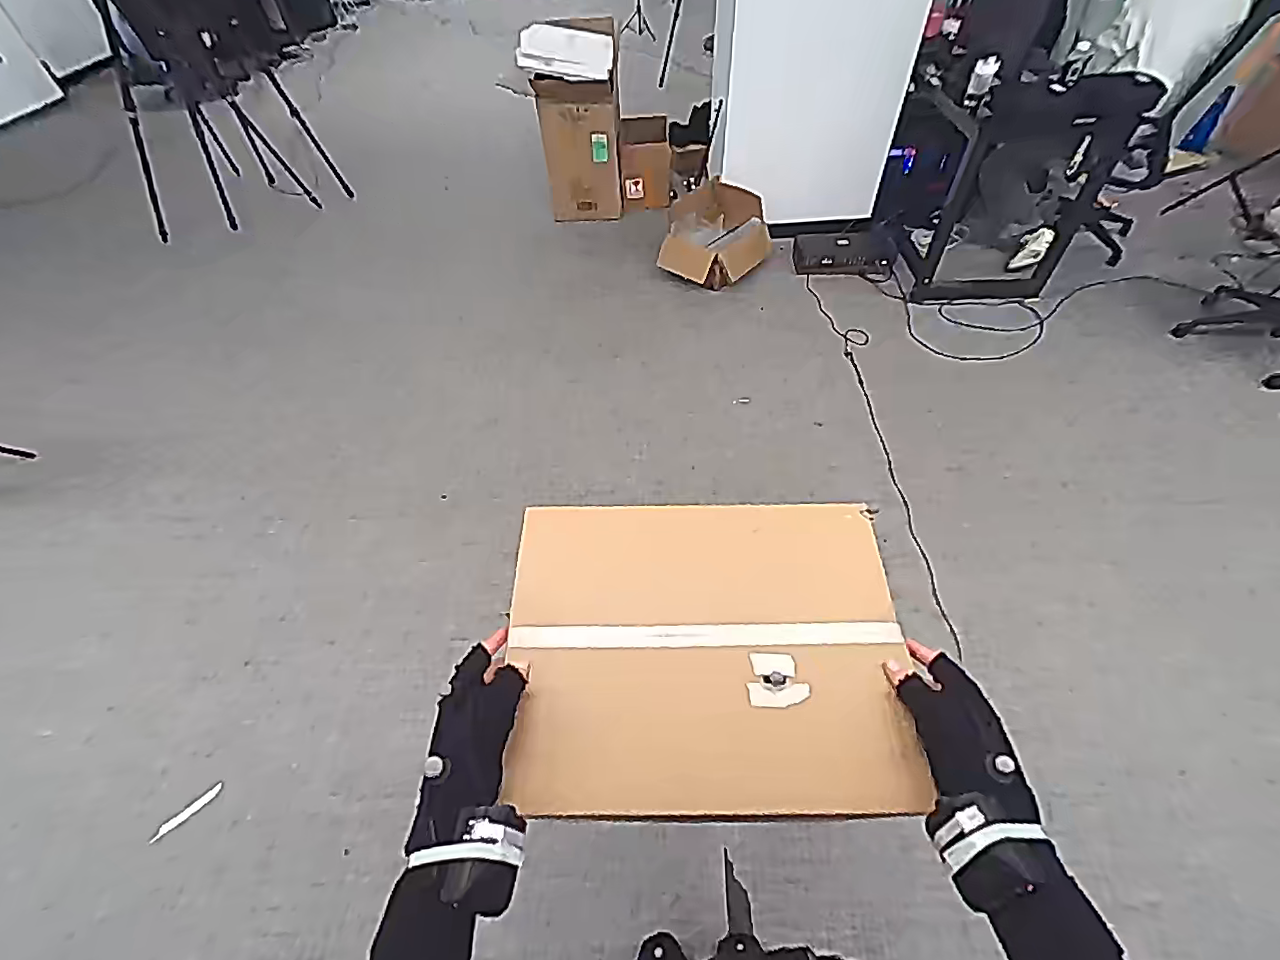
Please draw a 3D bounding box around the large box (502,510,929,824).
[{"bbox_3d":[0.066,0.252,0.698,0.408,0.320,0.320,-1,57,0],"label":"large box"}]
